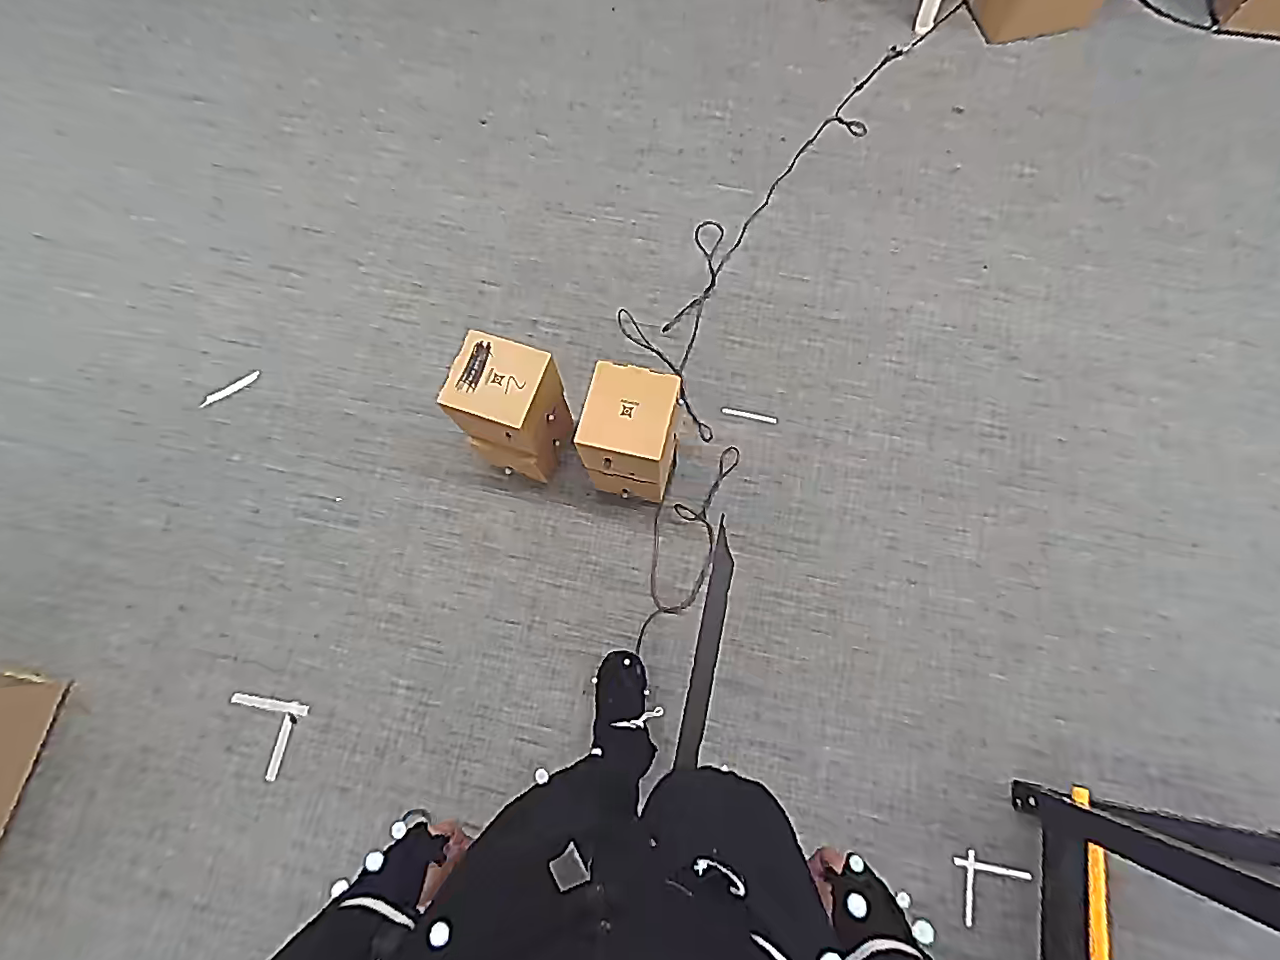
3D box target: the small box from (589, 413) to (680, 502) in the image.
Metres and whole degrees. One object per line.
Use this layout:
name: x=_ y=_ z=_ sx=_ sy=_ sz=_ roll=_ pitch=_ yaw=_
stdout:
small box: x=-0.009 y=-0.064 z=1.240 sx=0.168 sy=0.176 sz=0.179 roll=13 pitch=75 yaw=6

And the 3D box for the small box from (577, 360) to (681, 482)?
small box: x=-0.015 y=-0.110 z=1.084 sx=0.168 sy=0.176 sz=0.179 roll=12 pitch=74 yaw=6

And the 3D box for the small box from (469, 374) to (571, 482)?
small box: x=-0.268 y=-0.115 z=1.259 sx=0.168 sy=0.176 sz=0.179 roll=18 pitch=77 yaw=6
